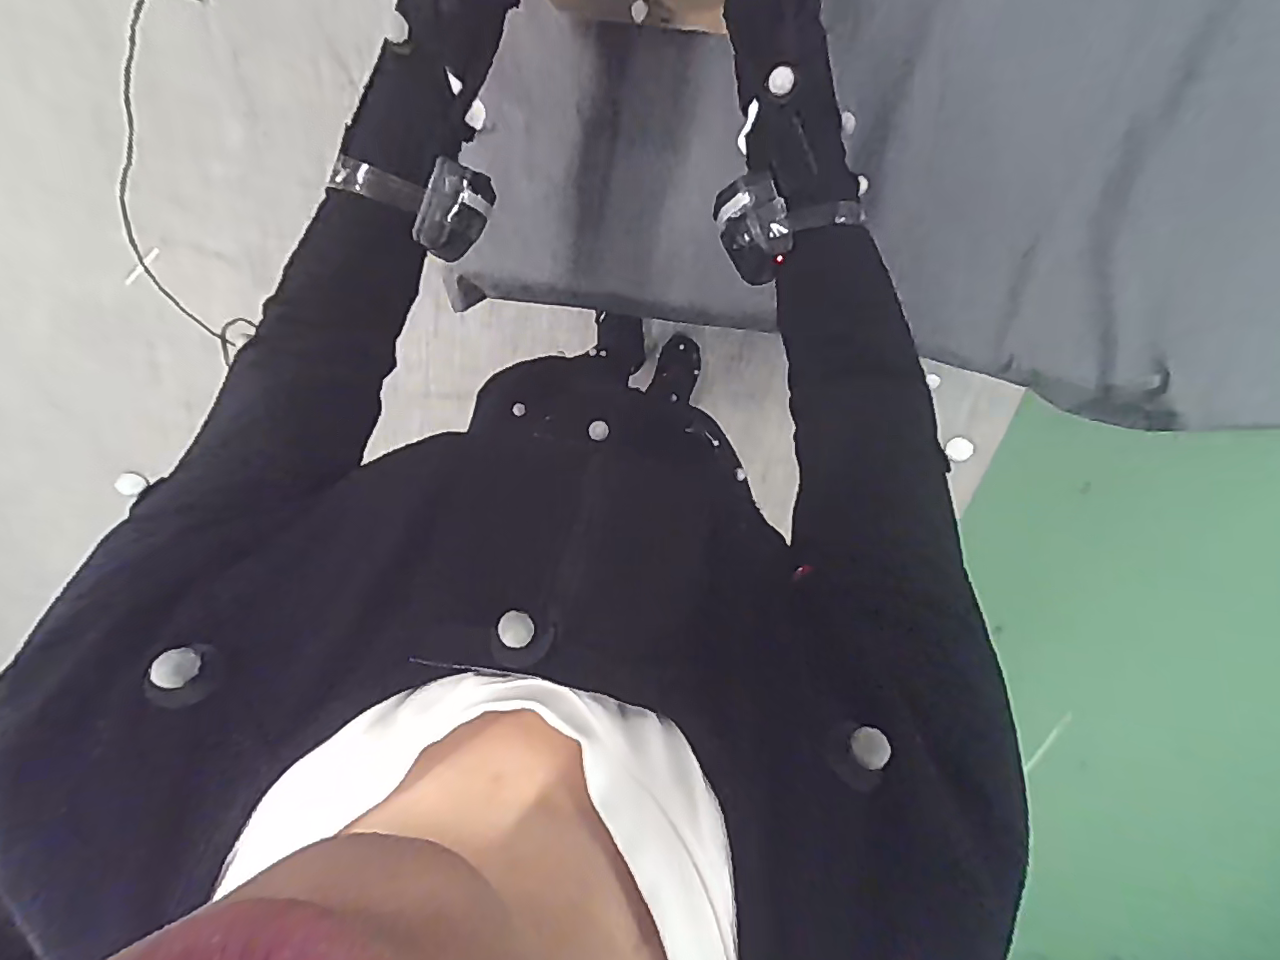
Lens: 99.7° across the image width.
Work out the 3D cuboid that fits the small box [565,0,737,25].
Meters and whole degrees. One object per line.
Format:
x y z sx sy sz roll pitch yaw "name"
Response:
0.007 -0.467 0.395 0.168 0.176 0.179 5 117 0 "small box"
